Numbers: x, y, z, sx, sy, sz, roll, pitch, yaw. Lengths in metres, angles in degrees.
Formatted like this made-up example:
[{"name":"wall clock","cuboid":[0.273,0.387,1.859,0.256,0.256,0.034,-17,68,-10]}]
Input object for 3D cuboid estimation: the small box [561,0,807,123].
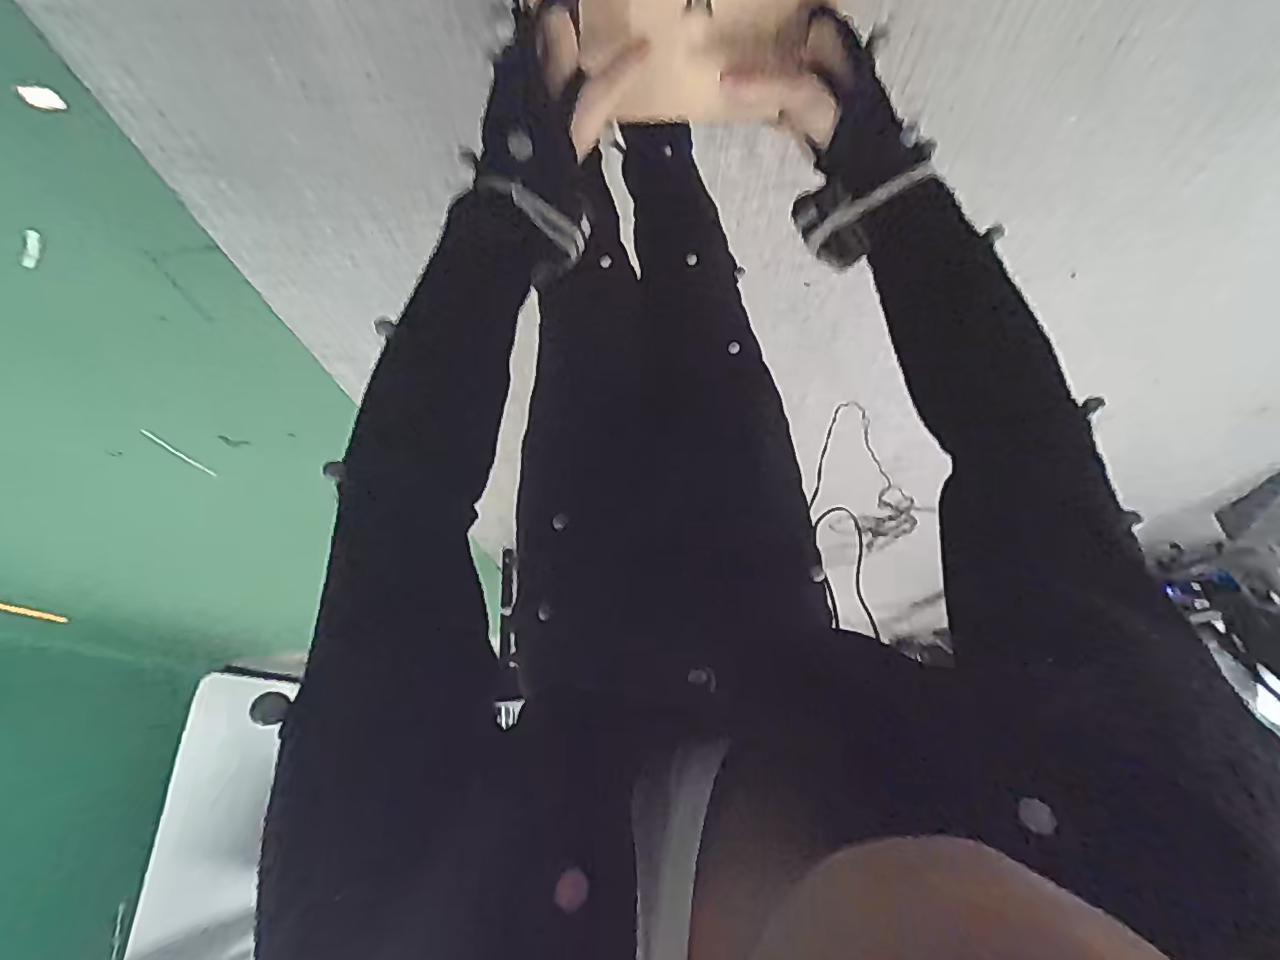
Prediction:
[{"name":"small box","cuboid":[0.026,-0.402,0.400,0.168,0.176,0.179,-6,152,-8]}]
